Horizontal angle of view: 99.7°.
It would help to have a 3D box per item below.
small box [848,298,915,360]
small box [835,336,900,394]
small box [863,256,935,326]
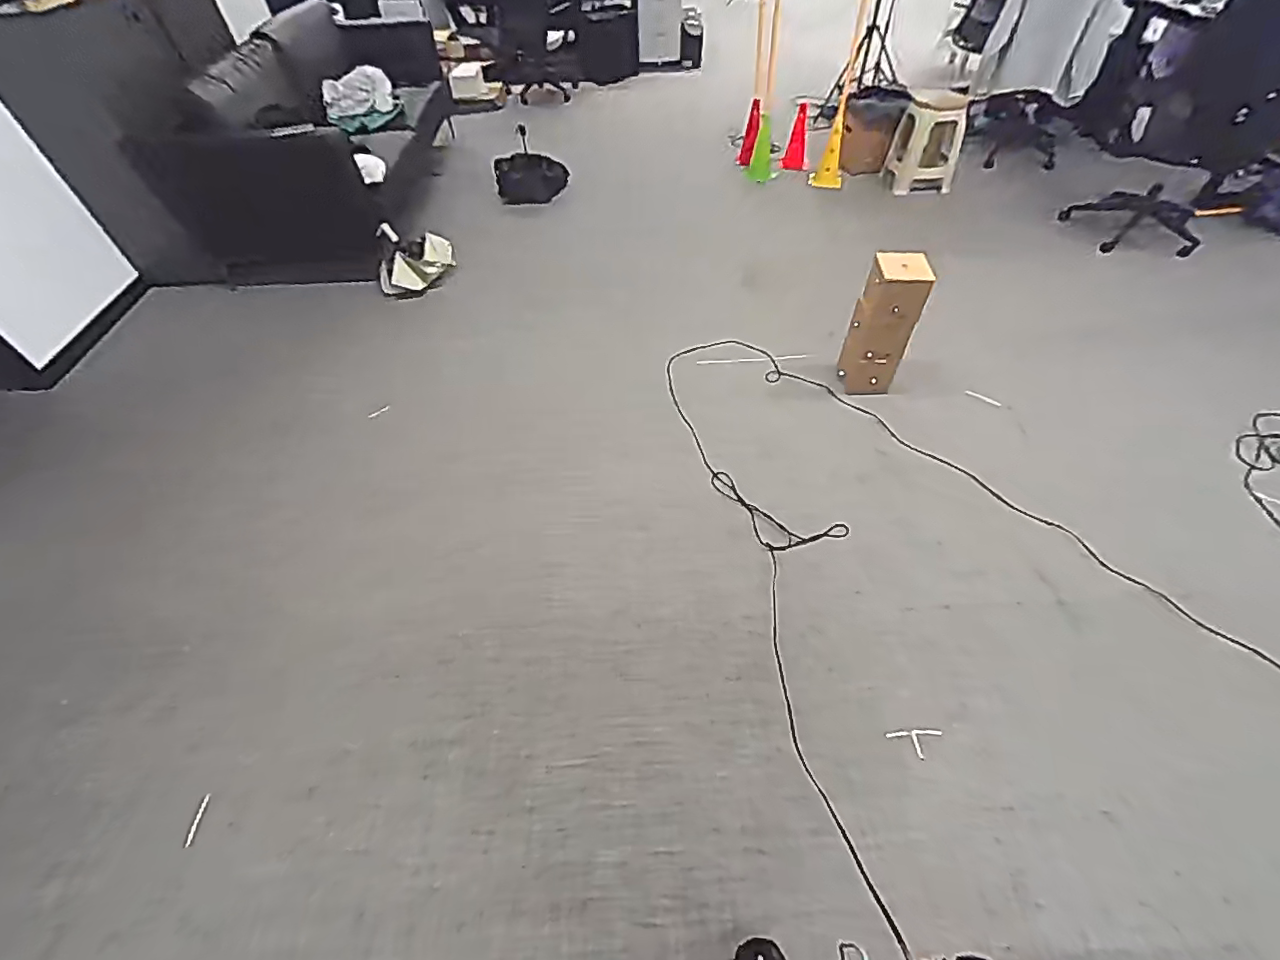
[{"bbox_3d":[0.902,-0.566,2.033,0.168,0.176,0.179,-1,49,1],"label":"small box"},{"bbox_3d":[0.902,-0.456,2.158,0.168,0.176,0.179,-2,52,-3],"label":"small box"},{"bbox_3d":[0.905,-0.668,1.906,0.168,0.176,0.179,3,51,4],"label":"small box"}]
